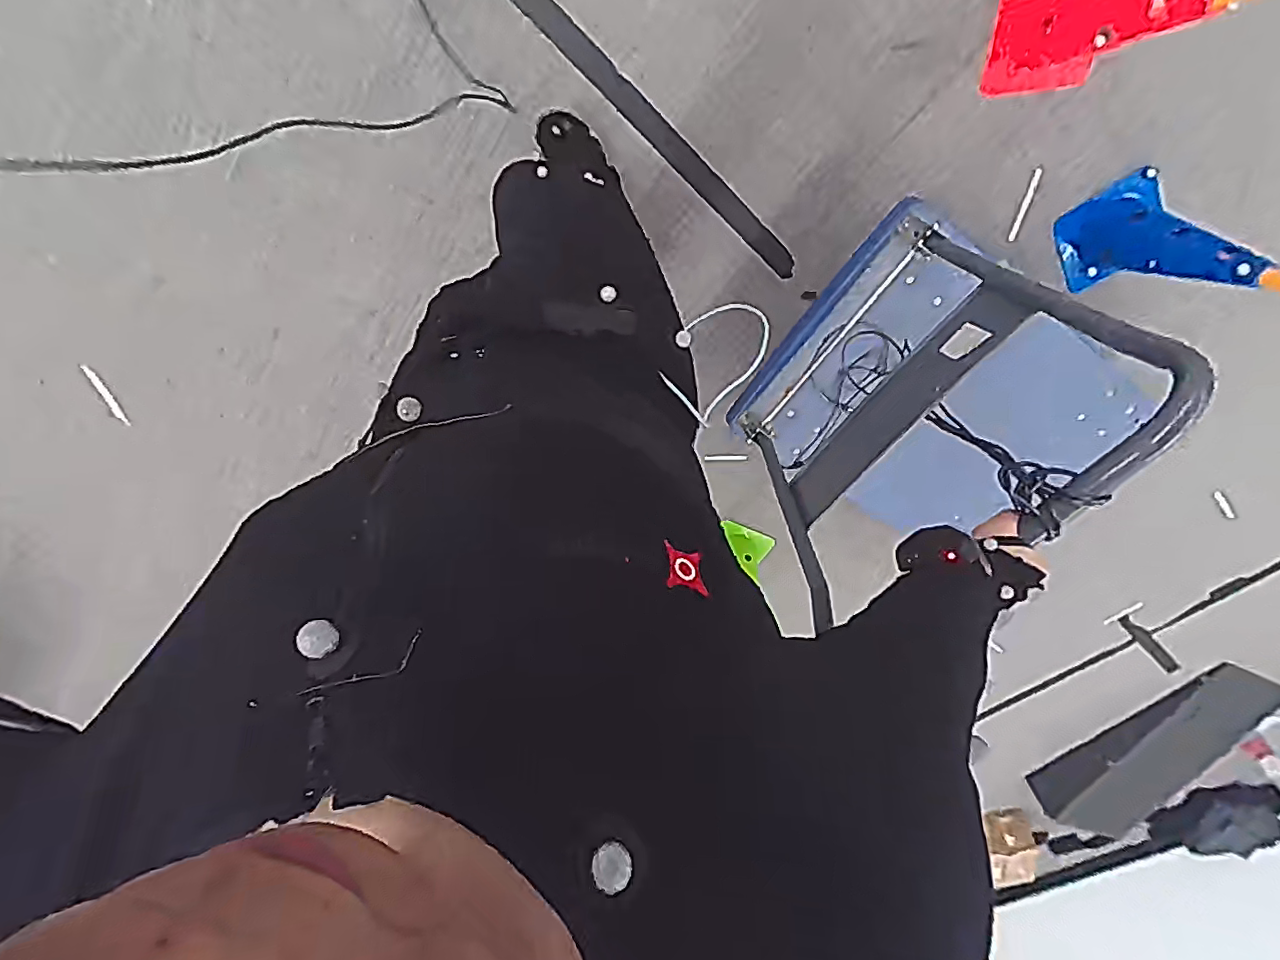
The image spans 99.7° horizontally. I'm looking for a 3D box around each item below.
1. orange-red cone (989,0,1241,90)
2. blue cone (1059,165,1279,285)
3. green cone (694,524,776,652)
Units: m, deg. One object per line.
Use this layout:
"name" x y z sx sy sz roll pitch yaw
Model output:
"orange-red cone" 0.746 -0.719 0.823 0.198 0.360 0.199 -4 126 2
"blue cone" 1.027 -0.450 1.037 0.193 0.380 0.192 -30 120 18
"green cone" 0.297 0.330 1.542 0.202 0.368 0.200 22 121 -15
